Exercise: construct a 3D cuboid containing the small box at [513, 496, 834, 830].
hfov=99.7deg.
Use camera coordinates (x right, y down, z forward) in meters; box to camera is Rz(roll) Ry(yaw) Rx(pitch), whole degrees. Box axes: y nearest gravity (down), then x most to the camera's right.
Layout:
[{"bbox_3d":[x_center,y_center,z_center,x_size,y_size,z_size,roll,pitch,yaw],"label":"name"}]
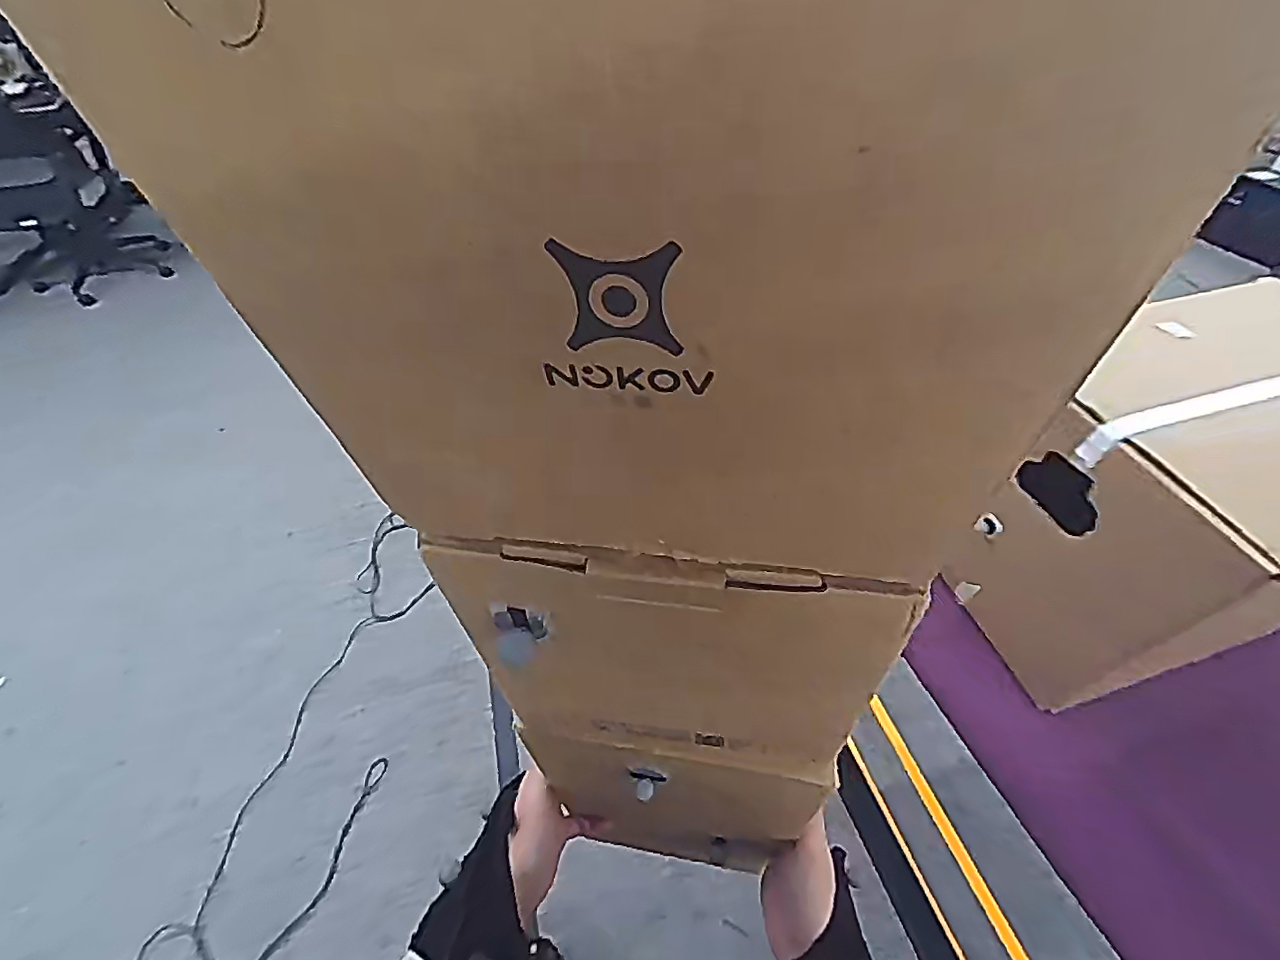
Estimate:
[{"bbox_3d":[0.032,0.134,0.395,0.179,0.176,0.168,6,48,9],"label":"small box"}]
